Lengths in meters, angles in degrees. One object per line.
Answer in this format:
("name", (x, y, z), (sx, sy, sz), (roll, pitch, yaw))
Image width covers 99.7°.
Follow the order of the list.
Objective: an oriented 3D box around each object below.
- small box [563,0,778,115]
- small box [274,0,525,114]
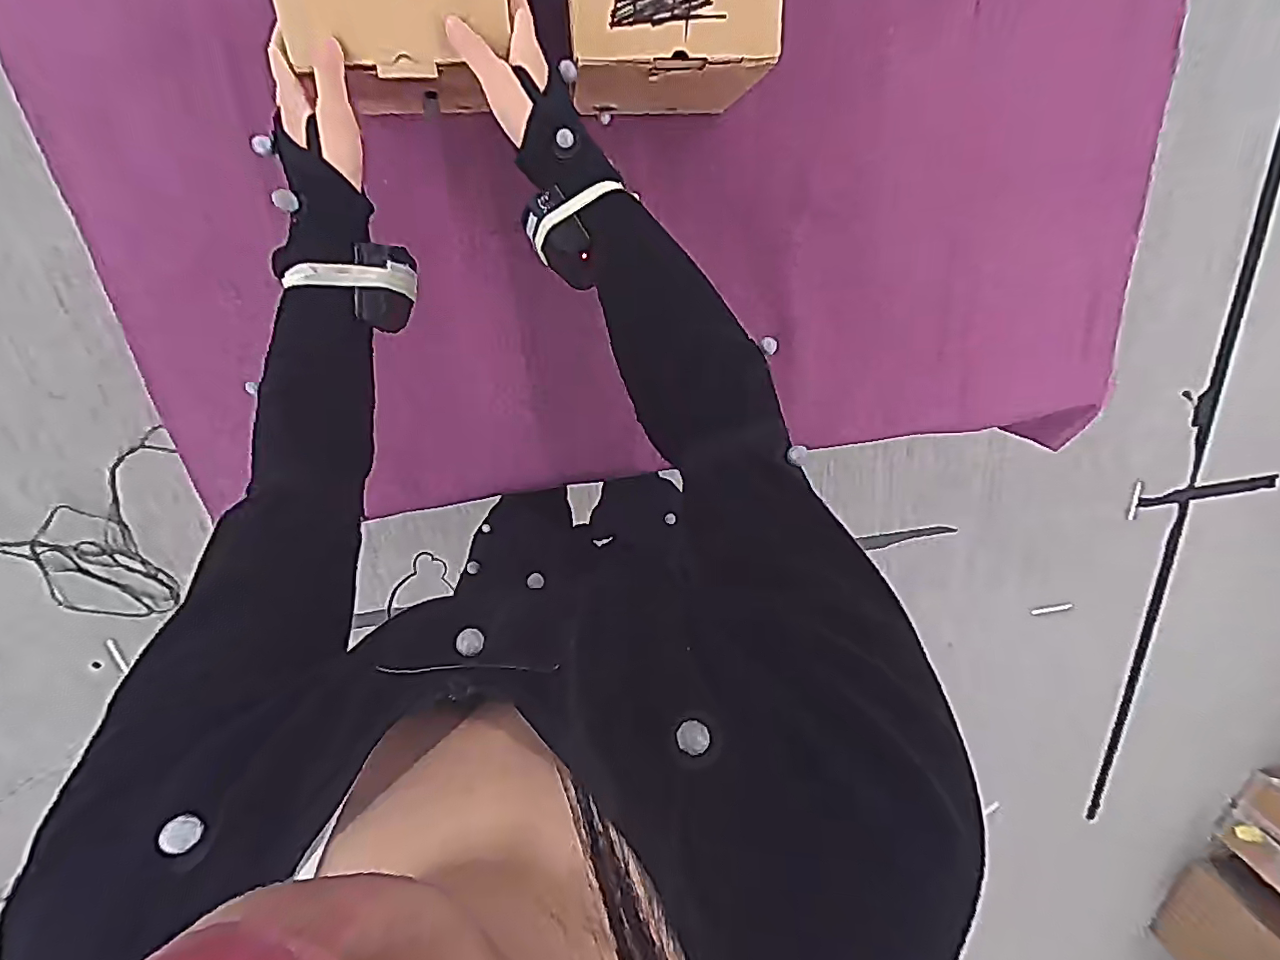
("small box", (0.017, -0.438, 0.474), (0.168, 0.176, 0.179), (-5, 112, -7))
("small box", (-0.192, -0.418, 0.449), (0.168, 0.176, 0.179), (-6, 115, -6))
